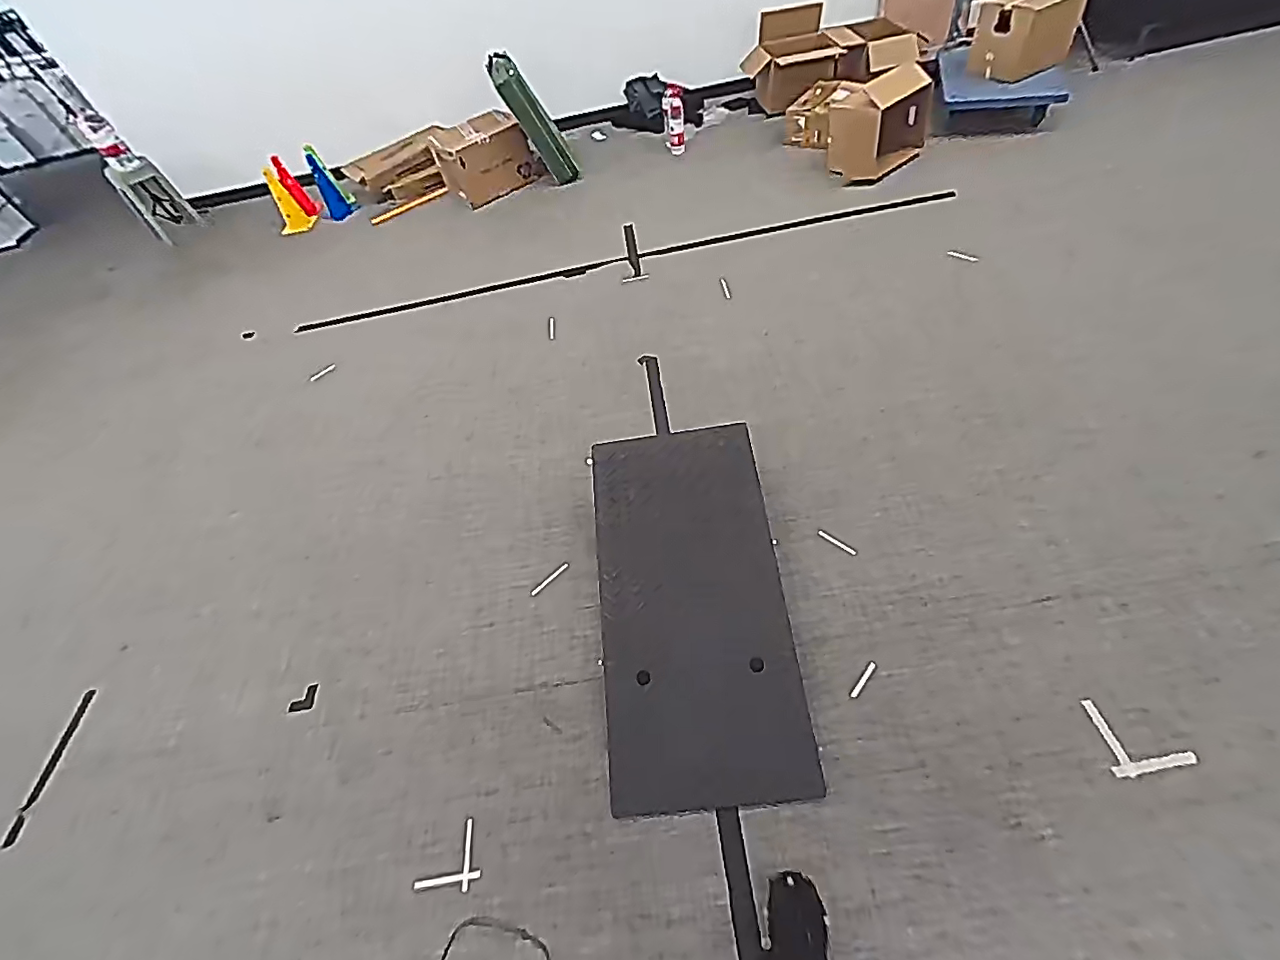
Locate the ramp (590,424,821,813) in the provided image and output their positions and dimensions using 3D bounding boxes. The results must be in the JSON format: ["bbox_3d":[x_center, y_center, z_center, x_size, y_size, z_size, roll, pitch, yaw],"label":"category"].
[{"bbox_3d":[0.129,0.297,1.459,0.509,0.206,0.991,-9,52,2],"label":"ramp"}]
